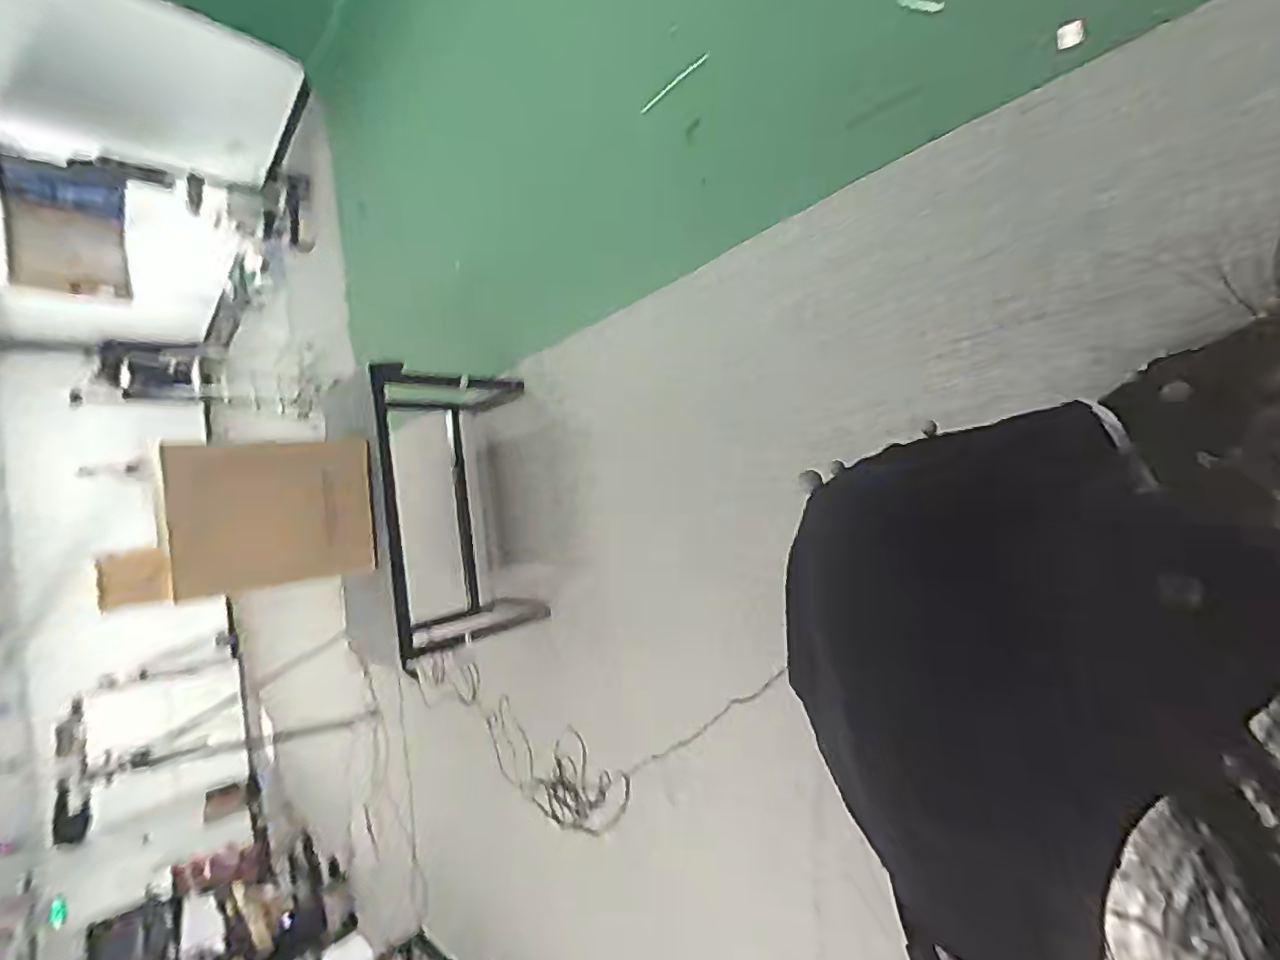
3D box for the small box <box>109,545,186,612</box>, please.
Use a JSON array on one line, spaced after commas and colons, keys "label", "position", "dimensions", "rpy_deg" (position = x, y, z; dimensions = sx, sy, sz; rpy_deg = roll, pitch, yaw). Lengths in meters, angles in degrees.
[{"label": "small box", "position": [-1.607, 0.314, 1.766], "dimensions": [0.179, 0.176, 0.168], "rpy_deg": [4, 98, 42]}]
